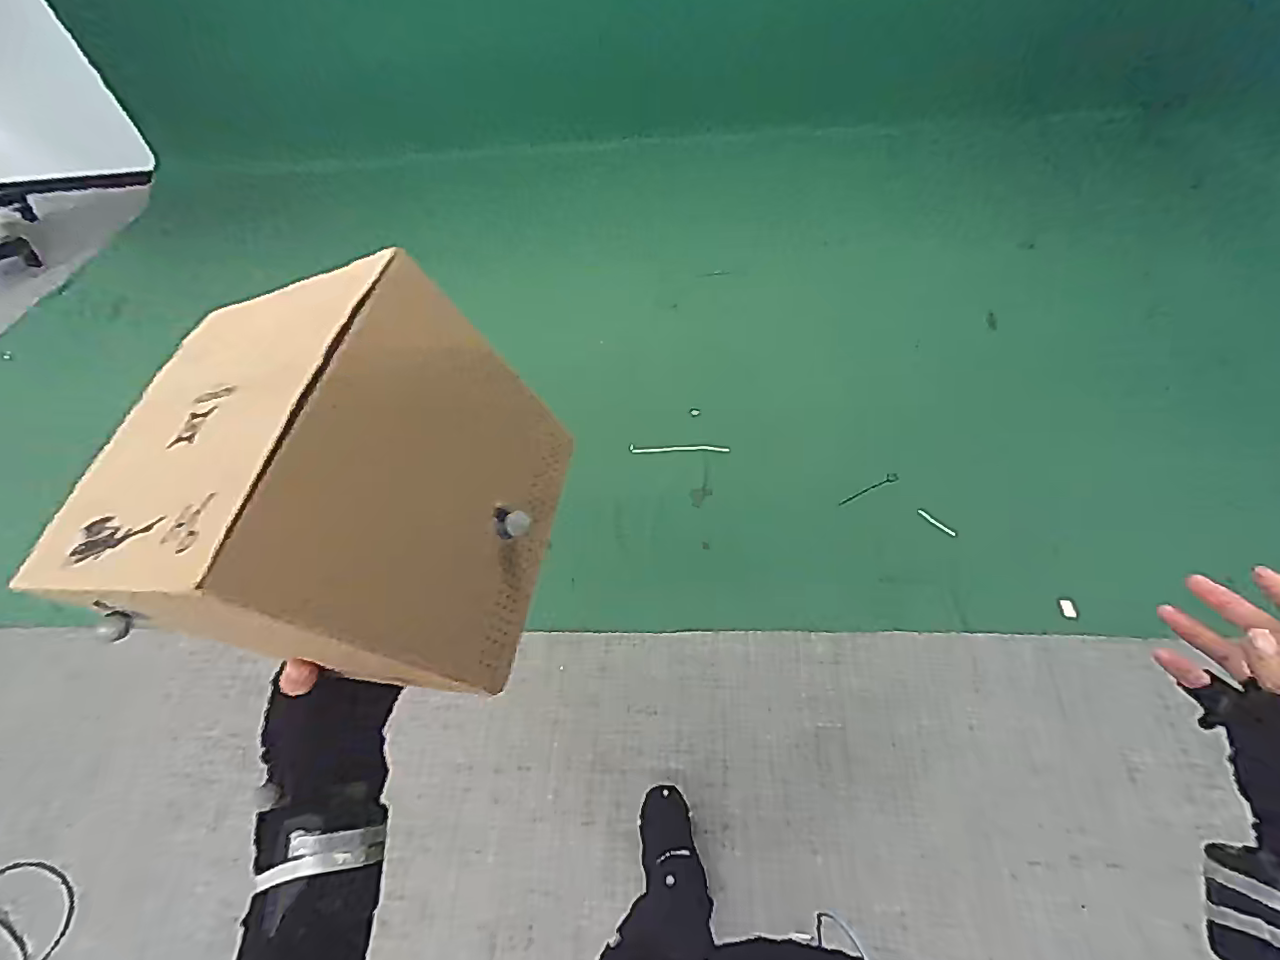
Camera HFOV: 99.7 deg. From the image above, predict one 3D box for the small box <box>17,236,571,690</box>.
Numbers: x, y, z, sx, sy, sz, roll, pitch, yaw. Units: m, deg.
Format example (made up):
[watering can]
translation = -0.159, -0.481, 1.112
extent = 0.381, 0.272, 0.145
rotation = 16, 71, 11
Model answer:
[small box]
translation = -0.160, 0.003, 0.309
extent = 0.168, 0.176, 0.179
rotation = -4, 58, 28
